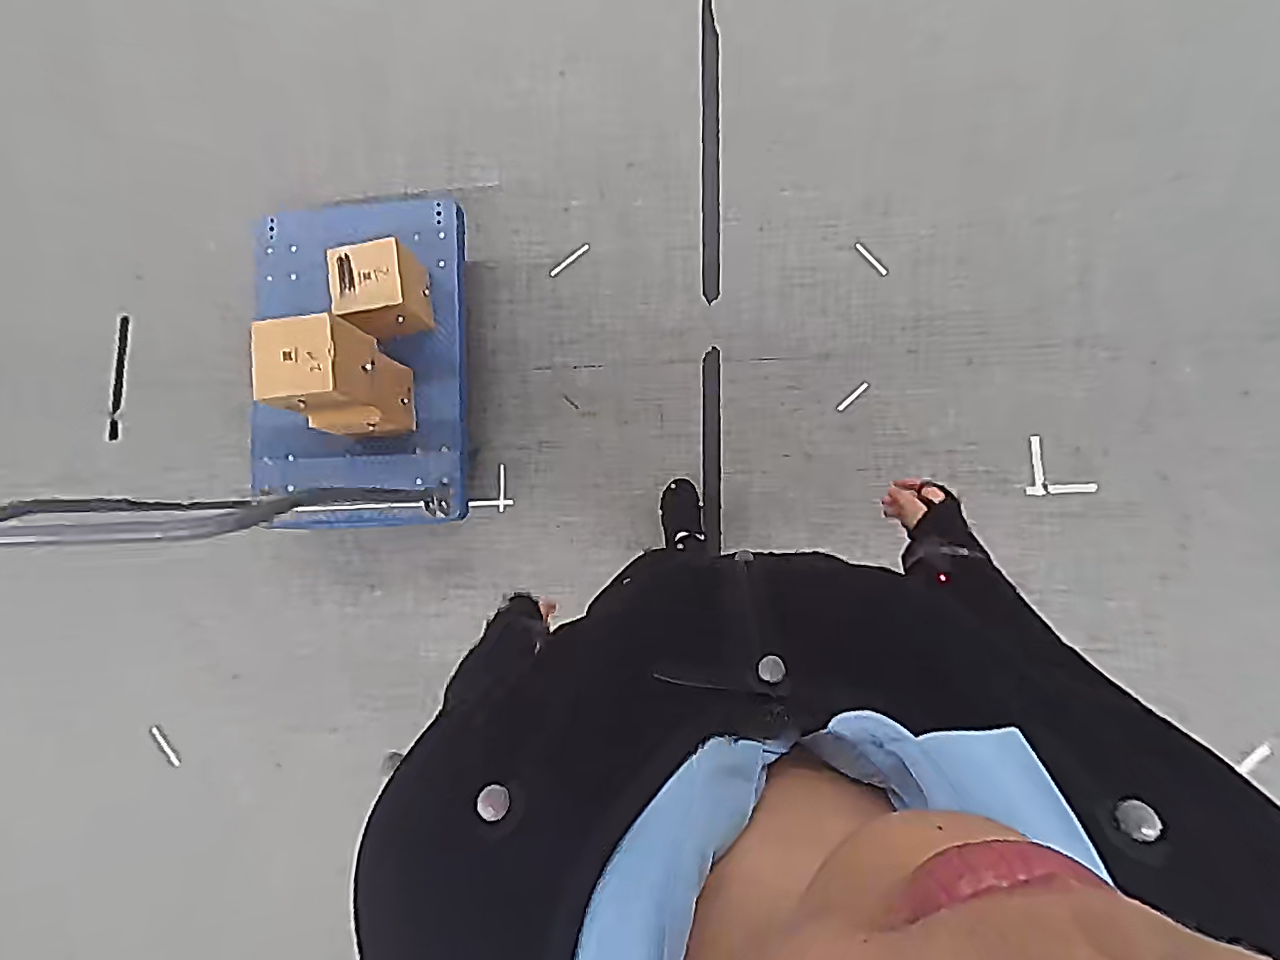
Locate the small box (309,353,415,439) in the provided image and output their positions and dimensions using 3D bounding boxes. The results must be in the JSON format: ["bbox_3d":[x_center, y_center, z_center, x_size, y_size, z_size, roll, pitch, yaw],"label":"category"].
[{"bbox_3d":[-0.680,-0.201,1.331,0.179,0.176,0.168,-6,85,4],"label":"small box"}]

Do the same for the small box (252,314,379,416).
[{"bbox_3d":[-0.695,-0.240,1.170,0.179,0.176,0.168,-6,85,4],"label":"small box"}]
